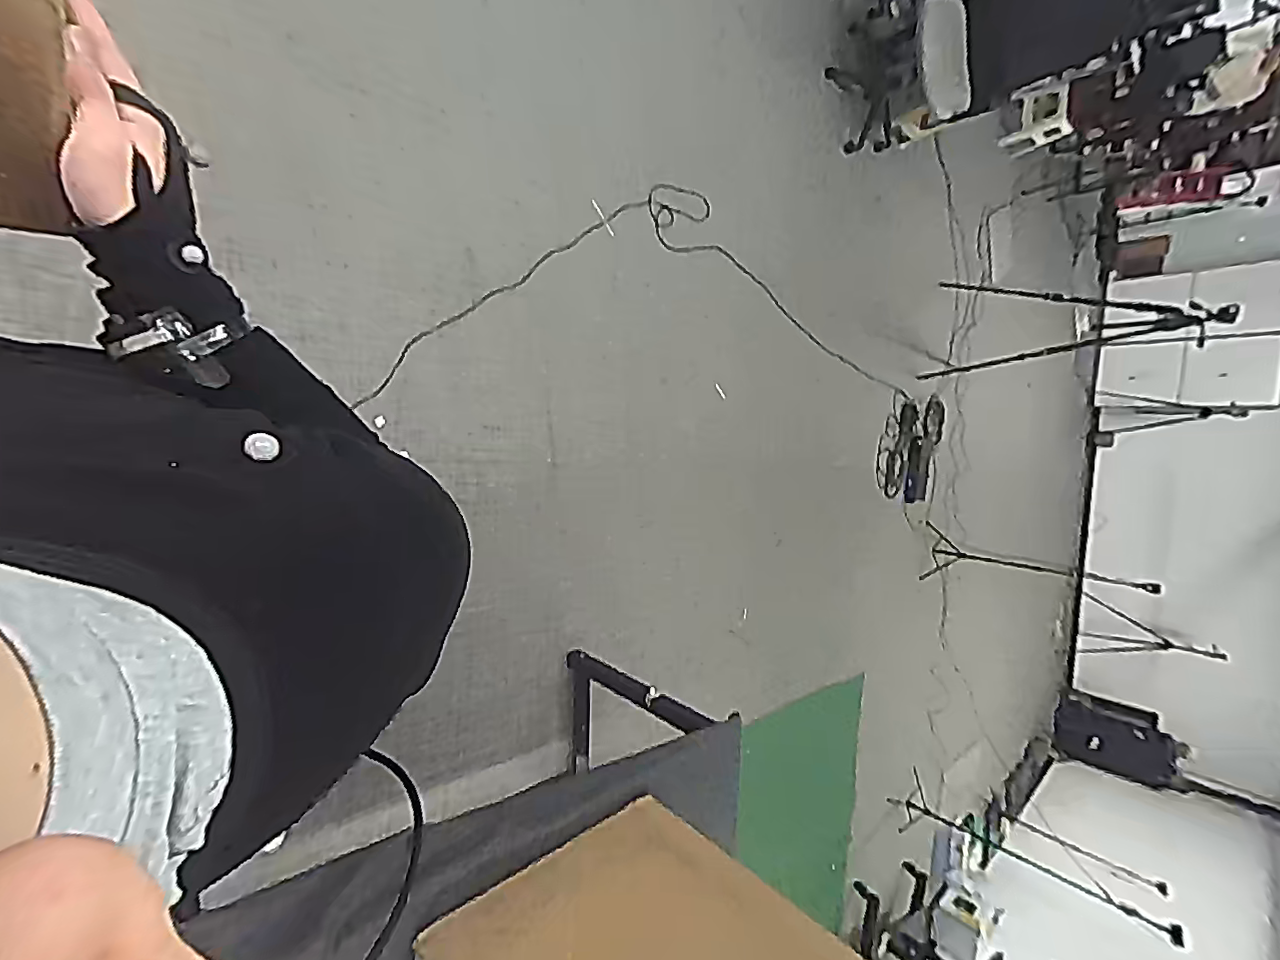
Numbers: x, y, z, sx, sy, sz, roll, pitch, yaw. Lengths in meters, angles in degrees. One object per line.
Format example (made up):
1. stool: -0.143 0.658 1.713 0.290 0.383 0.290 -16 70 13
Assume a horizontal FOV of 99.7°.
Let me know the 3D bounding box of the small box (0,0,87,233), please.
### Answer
1. small box: -0.419 -0.255 0.271 0.179 0.176 0.168 -13 74 -48
